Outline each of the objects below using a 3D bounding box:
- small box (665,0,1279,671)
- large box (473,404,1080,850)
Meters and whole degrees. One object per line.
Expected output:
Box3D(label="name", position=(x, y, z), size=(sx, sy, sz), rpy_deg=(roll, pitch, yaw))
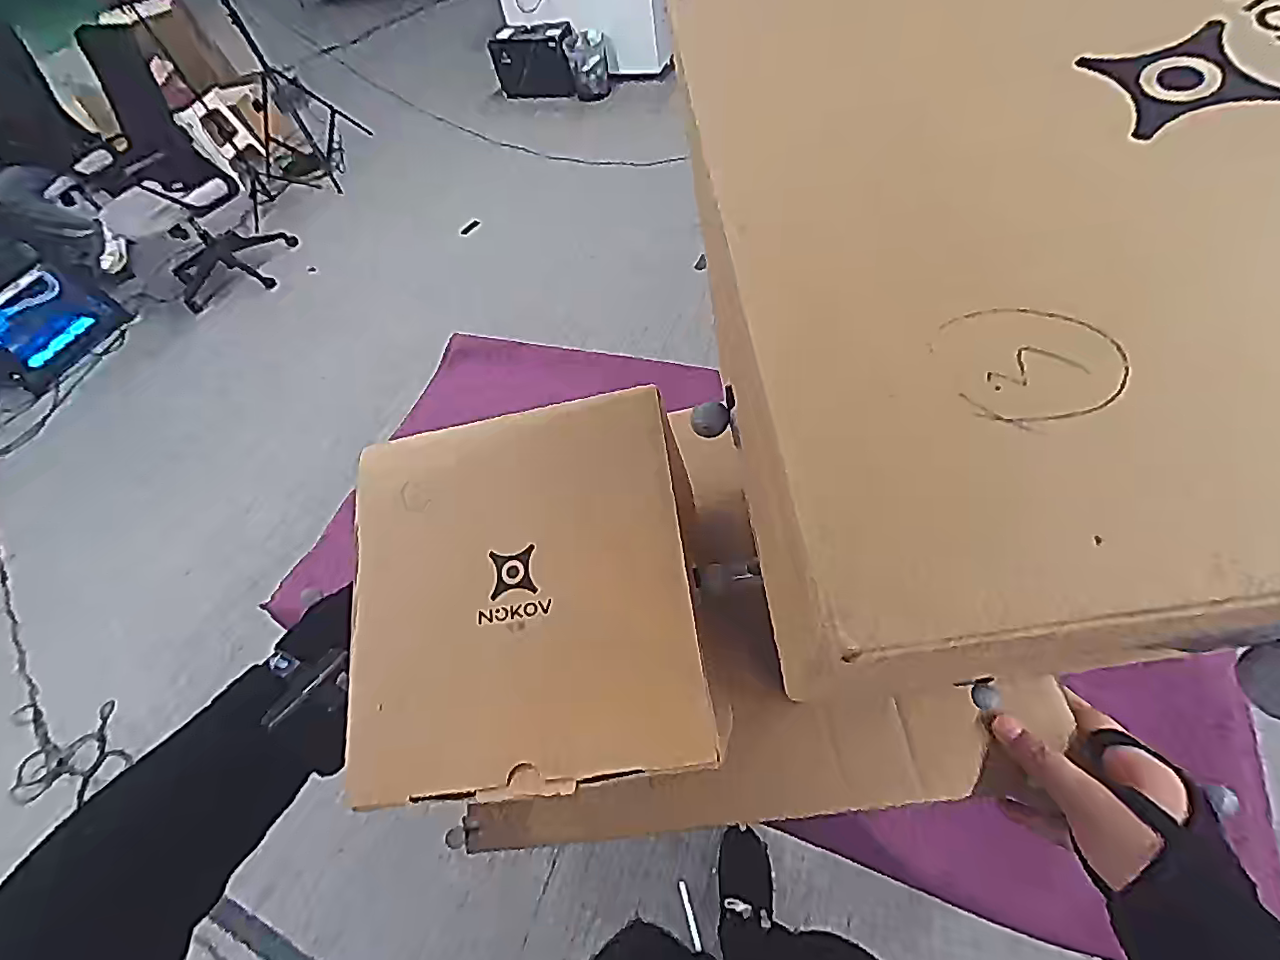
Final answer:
Box3D(label="small box", position=(0.115, -0.042, 0.163), size=(0.179, 0.176, 0.168), rpy_deg=(-11, 65, 9))
Box3D(label="large box", position=(0.090, 0.139, 0.548), size=(0.408, 0.320, 0.320), rpy_deg=(-13, 62, 8))
